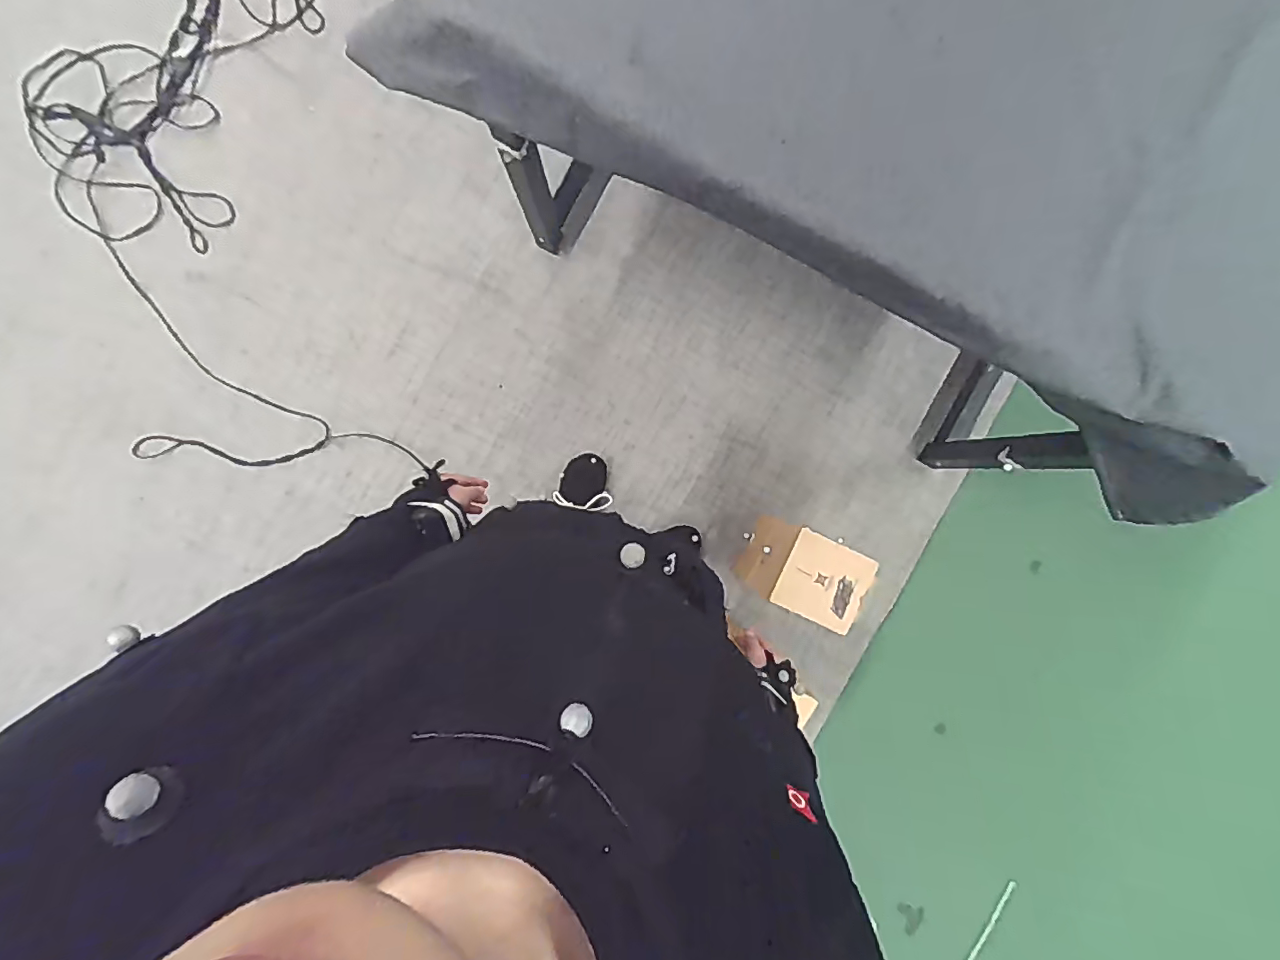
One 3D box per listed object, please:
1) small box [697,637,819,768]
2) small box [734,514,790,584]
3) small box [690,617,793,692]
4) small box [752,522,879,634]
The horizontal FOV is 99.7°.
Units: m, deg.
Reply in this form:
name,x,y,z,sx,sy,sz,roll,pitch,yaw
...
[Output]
name,x,y,z,sx,sy,sz,roll,pitch,yaw
small box,0.242,0.463,1.155,0.179,0.176,0.168,31,91,-2
small box,0.352,0.191,1.315,0.179,0.176,0.168,26,90,-2
small box,0.237,0.455,1.318,0.179,0.176,0.168,30,91,-1
small box,0.364,0.198,1.151,0.179,0.176,0.168,25,90,-2
